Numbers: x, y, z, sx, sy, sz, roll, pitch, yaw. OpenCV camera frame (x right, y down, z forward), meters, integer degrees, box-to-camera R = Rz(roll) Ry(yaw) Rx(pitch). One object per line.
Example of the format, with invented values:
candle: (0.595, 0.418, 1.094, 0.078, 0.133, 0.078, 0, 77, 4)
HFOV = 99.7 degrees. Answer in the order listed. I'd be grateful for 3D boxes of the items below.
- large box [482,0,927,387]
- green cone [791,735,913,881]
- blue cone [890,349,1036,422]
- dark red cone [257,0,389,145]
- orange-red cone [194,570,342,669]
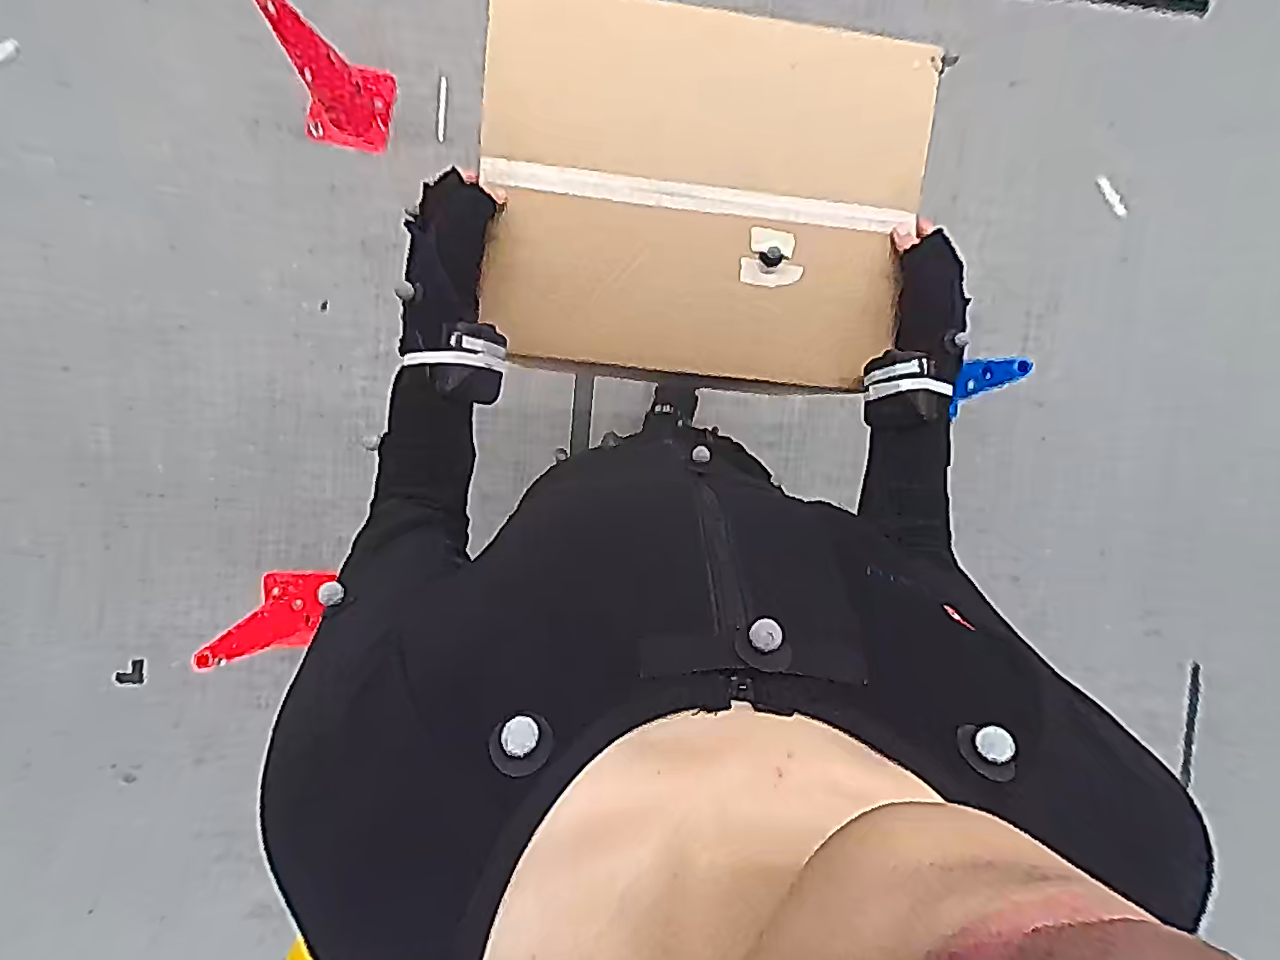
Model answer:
large box: (0.046, -0.286, 0.649, 0.408, 0.320, 0.320, 5, 98, -6)
green cone: (0.564, 0.857, 1.360, 0.202, 0.368, 0.200, -34, 95, -2)
blue cone: (0.798, -0.250, 1.326, 0.192, 0.380, 0.193, 7, 93, -4)
dark red cone: (-0.718, -0.934, 1.173, 0.201, 0.394, 0.202, 10, 93, -4)
orange-red cone: (-0.885, 0.353, 1.263, 0.198, 0.360, 0.199, 2, 95, -2)
